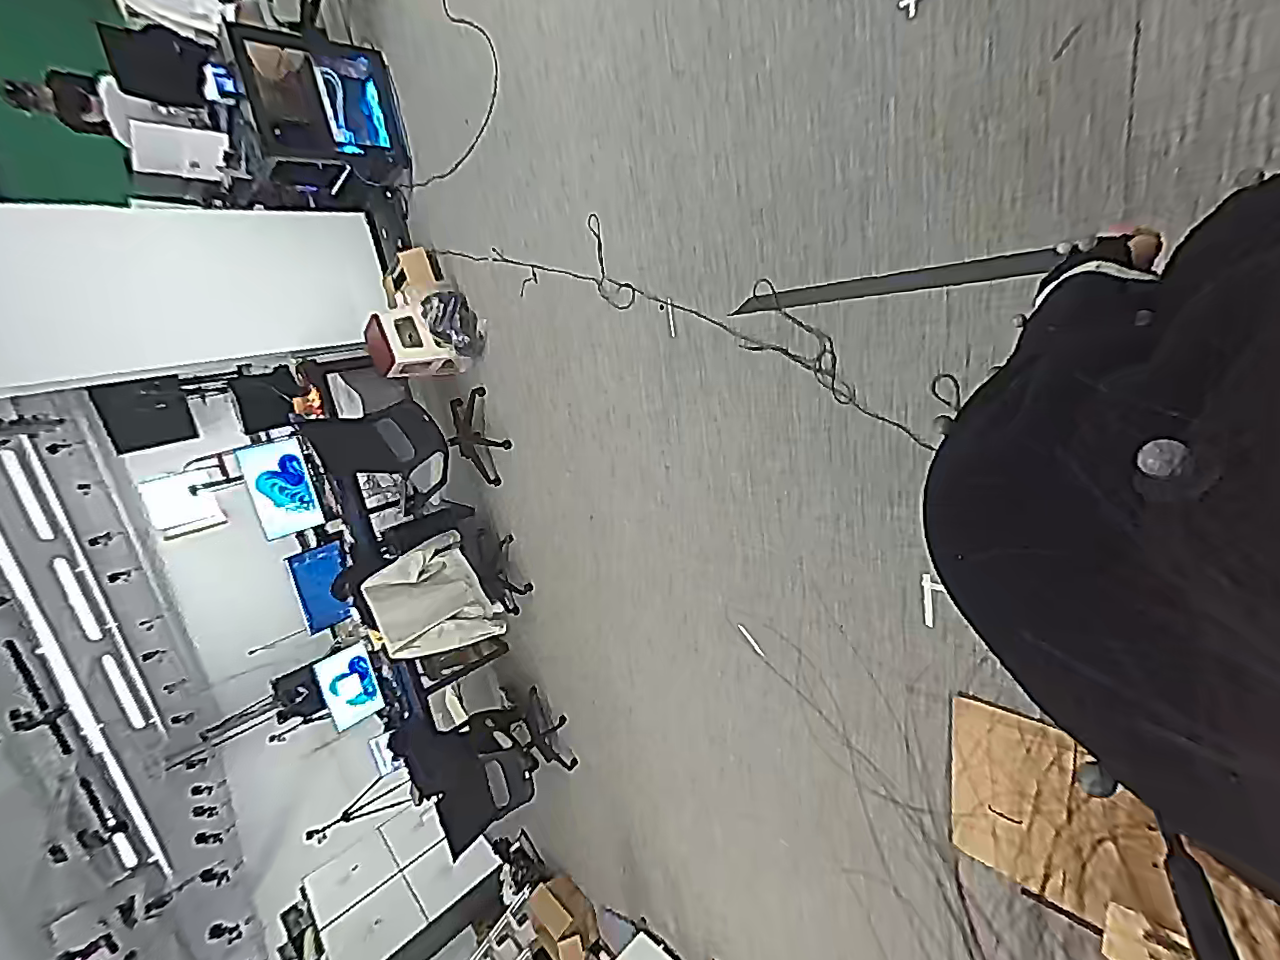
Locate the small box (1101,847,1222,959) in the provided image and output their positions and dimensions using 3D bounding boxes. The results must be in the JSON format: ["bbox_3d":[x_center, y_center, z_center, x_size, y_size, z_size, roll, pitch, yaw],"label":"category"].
[{"bbox_3d":[1.124,0.952,1.166,0.168,0.176,0.179,10,116,47],"label":"small box"}]

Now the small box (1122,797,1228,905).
[{"bbox_3d":[1.244,0.891,1.262,0.168,0.176,0.179,6,113,48],"label":"small box"}]
